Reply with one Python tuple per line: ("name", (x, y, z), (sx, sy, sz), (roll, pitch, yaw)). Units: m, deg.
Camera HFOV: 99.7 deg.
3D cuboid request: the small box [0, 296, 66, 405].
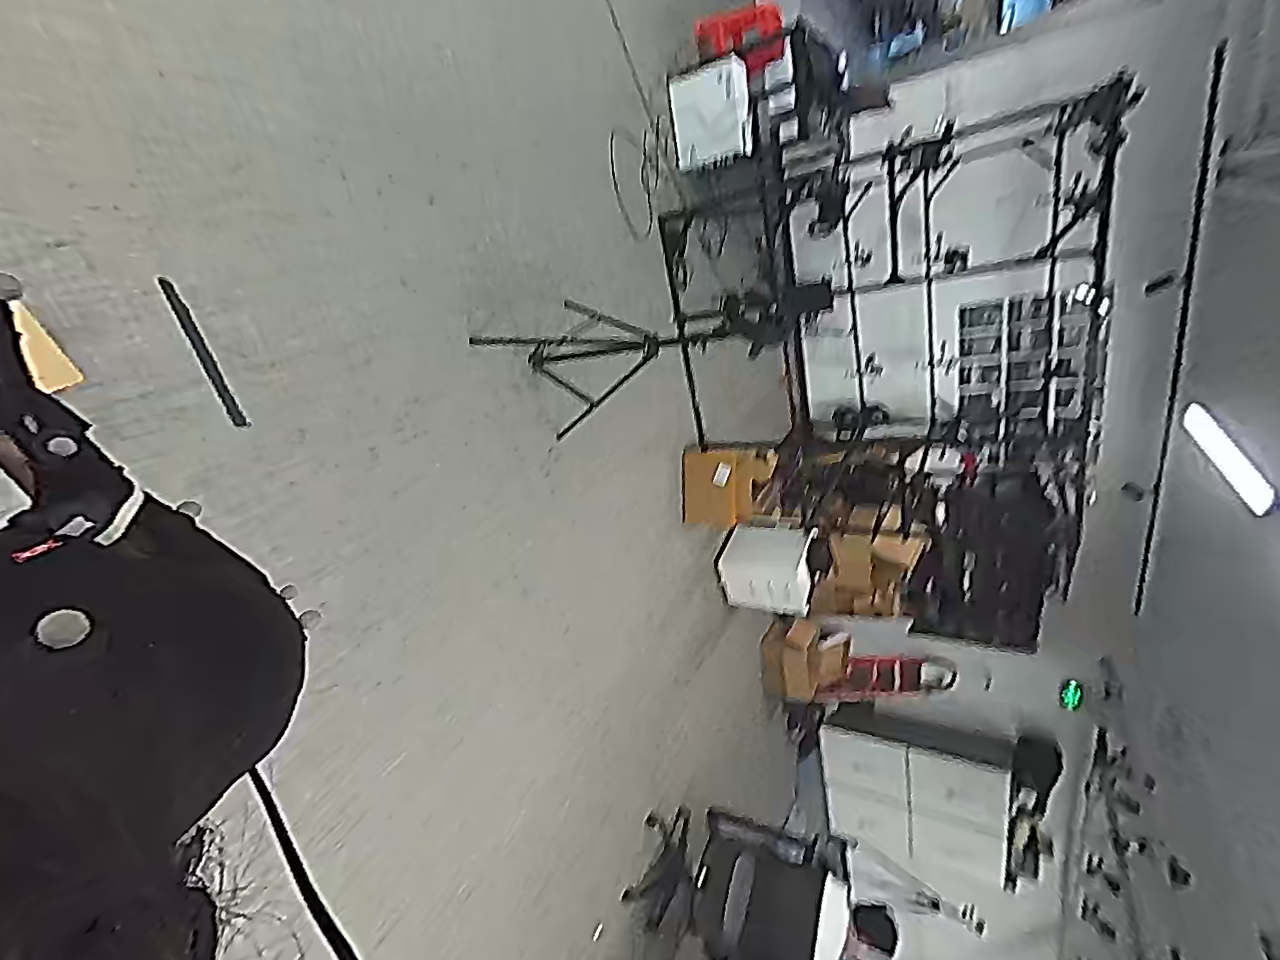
("small box", (-1.174, -0.212, 0.934), (0.168, 0.176, 0.179), (-51, 131, -46))
